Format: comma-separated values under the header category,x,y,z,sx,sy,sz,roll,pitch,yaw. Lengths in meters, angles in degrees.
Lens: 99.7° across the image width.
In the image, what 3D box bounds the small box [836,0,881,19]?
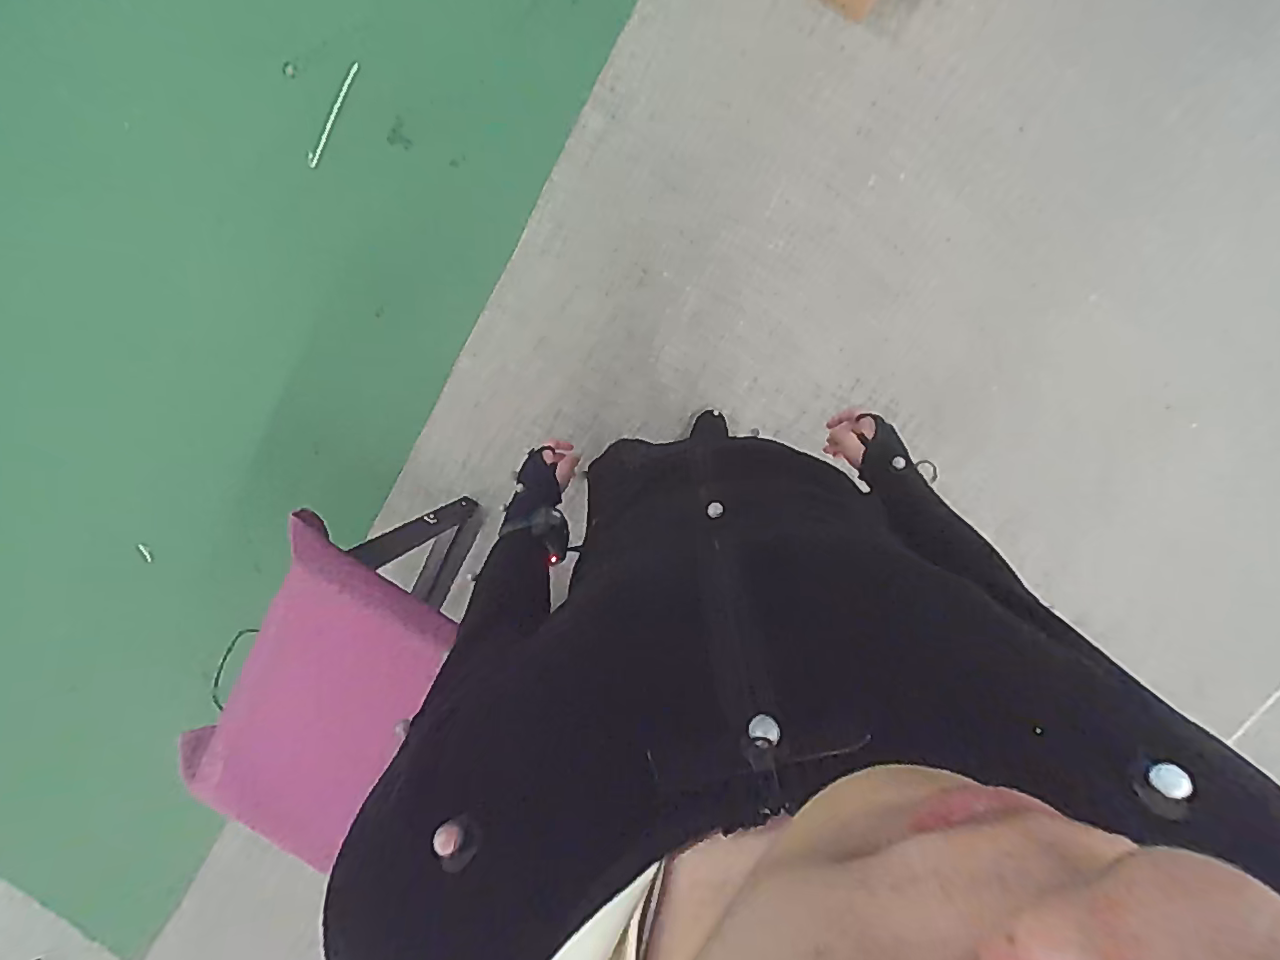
category,x,y,z,sx,sy,sz,roll,pitch,yaw
small box,0.535,-1.248,1.263,0.168,0.176,0.179,33,101,1
